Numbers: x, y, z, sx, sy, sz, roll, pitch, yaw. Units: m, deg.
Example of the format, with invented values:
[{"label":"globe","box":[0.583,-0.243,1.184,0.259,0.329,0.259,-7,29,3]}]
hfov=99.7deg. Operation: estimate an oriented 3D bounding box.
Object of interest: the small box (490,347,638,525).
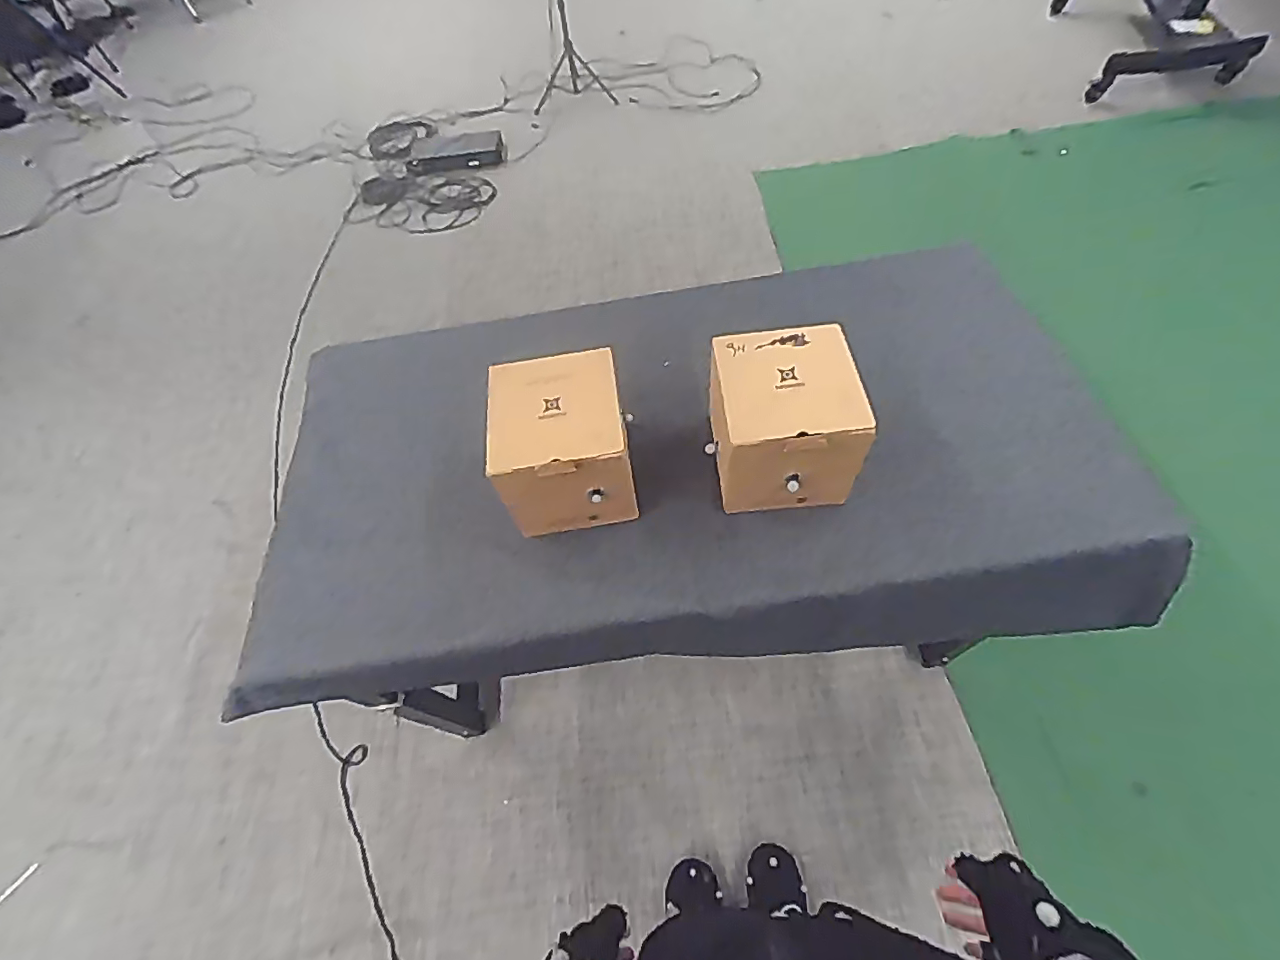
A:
[{"label":"small box","box":[-0.099,-0.052,0.745,0.168,0.176,0.179,-9,57,-1]}]

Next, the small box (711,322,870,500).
[{"label":"small box","box":[0.187,-0.083,0.729,0.168,0.176,0.179,-6,59,3]}]
